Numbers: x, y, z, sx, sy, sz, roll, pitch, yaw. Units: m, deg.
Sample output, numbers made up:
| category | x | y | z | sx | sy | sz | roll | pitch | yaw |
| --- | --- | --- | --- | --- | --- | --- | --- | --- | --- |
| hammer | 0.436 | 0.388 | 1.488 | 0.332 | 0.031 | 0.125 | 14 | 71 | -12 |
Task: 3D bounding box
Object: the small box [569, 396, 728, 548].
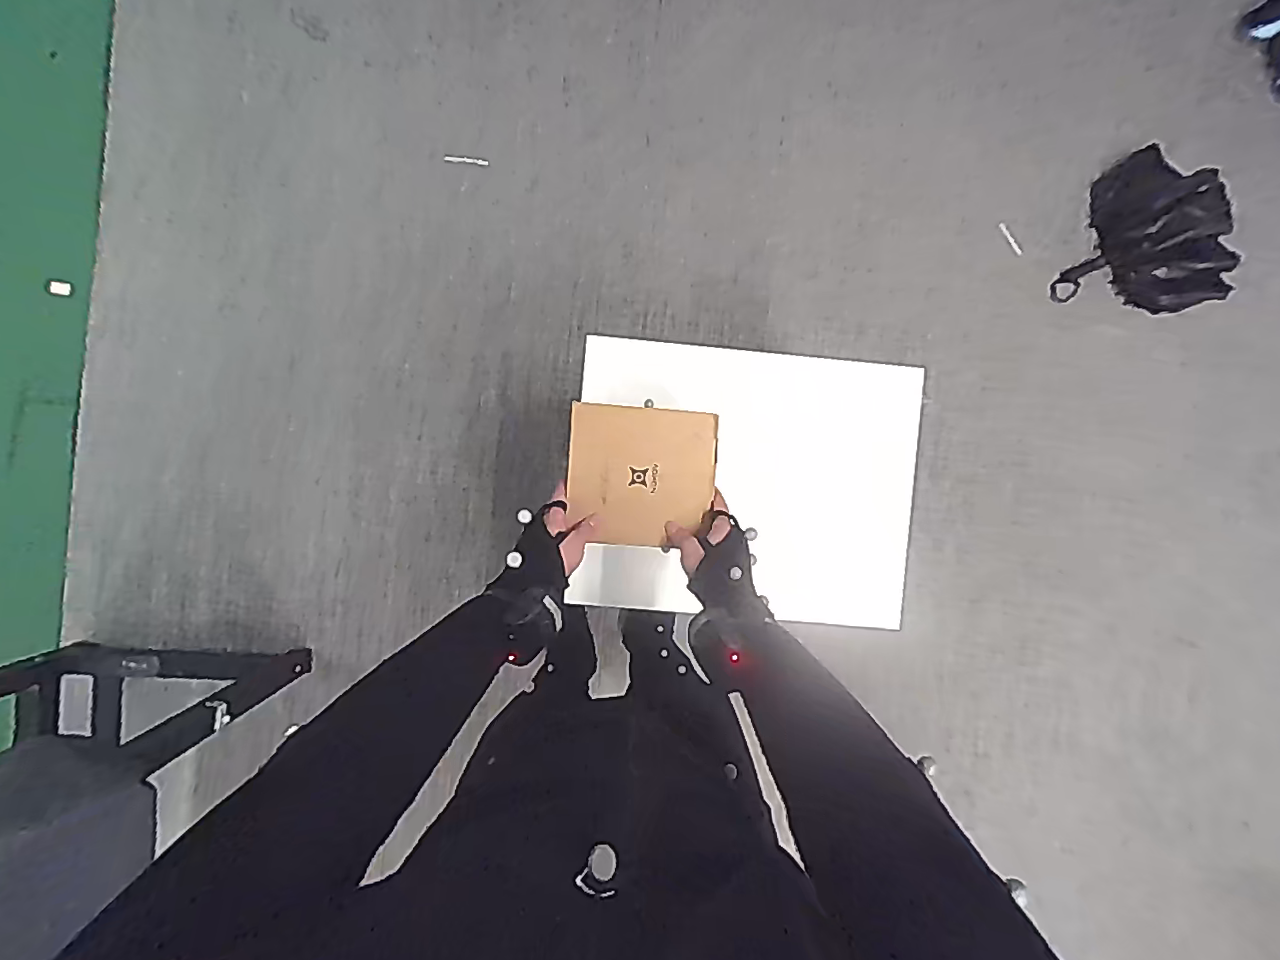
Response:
| category | x | y | z | sx | sy | sz | roll | pitch | yaw |
| --- | --- | --- | --- | --- | --- | --- | --- | --- | --- |
| small box | 0.003 | -0.008 | 0.701 | 0.179 | 0.176 | 0.168 | 4 | 89 | -5 |
